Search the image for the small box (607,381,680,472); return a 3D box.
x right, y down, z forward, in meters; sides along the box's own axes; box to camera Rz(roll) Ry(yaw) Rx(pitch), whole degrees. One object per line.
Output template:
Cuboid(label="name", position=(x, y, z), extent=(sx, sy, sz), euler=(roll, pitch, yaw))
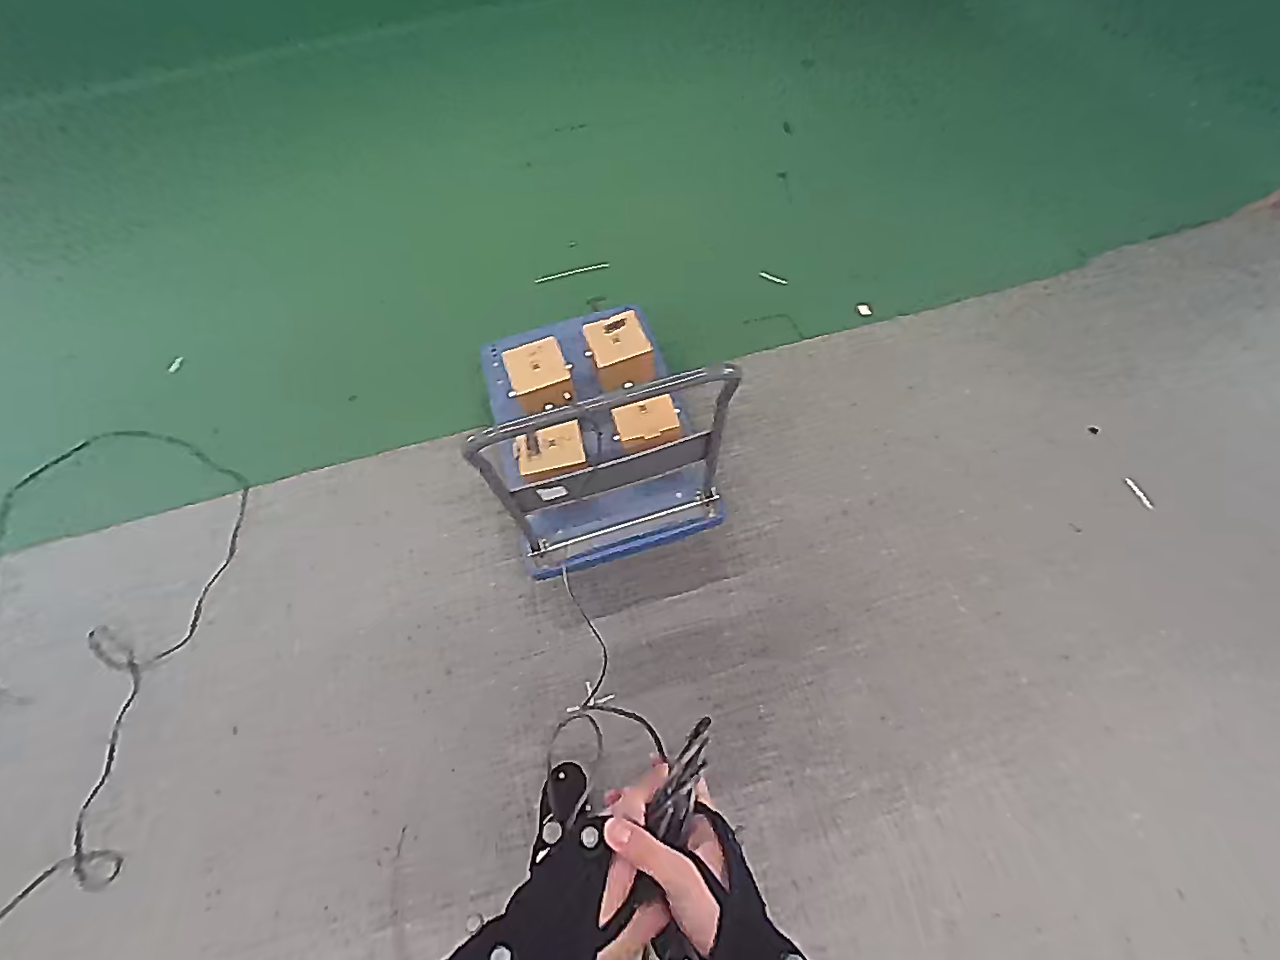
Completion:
Cuboid(label="small box", position=(0.010, -0.151, 1.555), extent=(0.168, 0.176, 0.179), euler=(-16, 63, -4))

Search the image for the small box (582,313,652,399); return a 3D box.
Cuboid(label="small box", position=(-0.069, -0.378, 1.678), extent=(0.168, 0.176, 0.179), euler=(-21, 64, -6))

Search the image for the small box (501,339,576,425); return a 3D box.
Cuboid(label="small box", position=(-0.303, -0.290, 1.650), extent=(0.168, 0.176, 0.179), euler=(-20, 63, -7))
